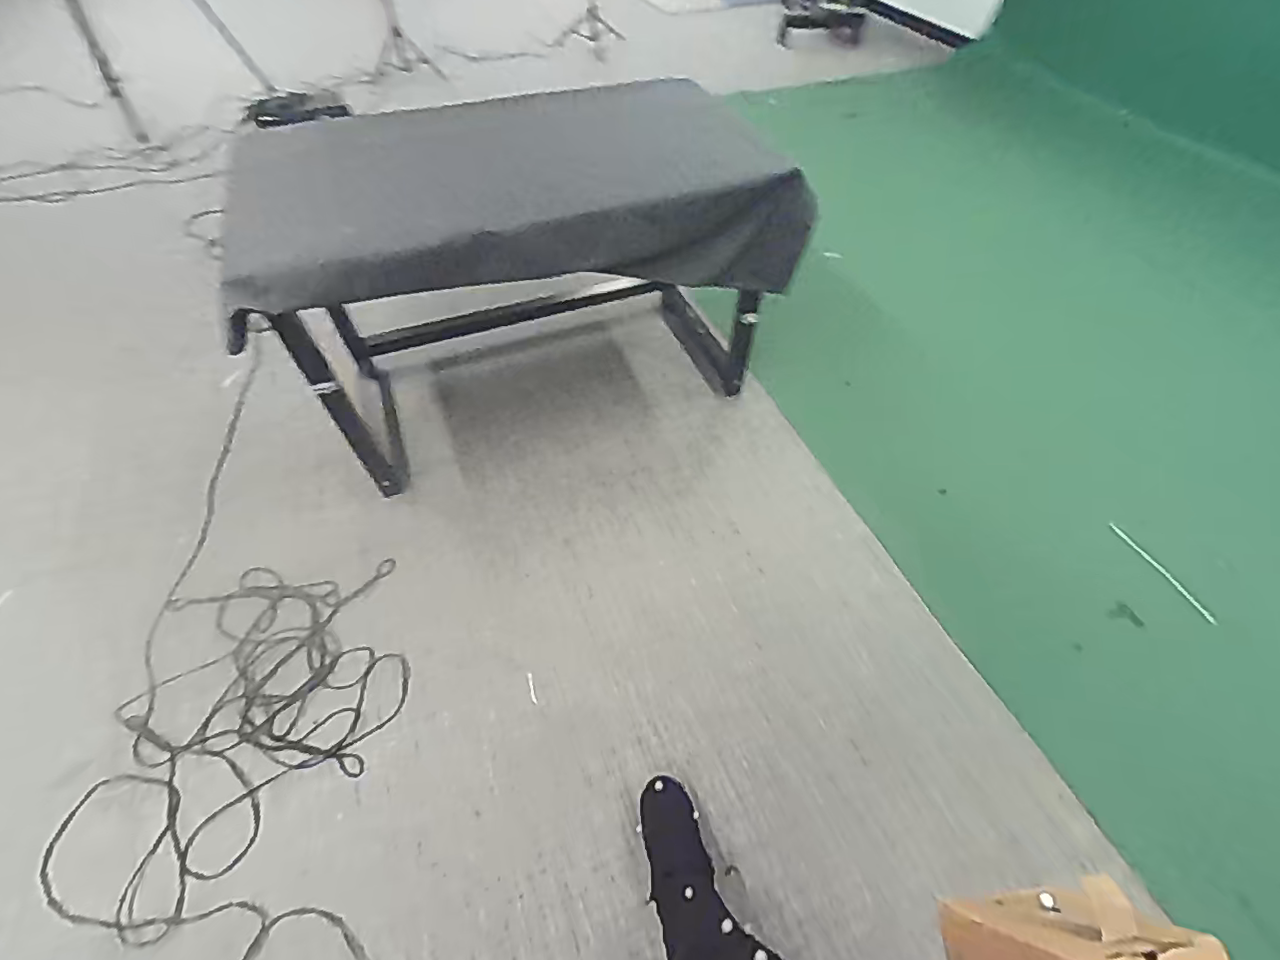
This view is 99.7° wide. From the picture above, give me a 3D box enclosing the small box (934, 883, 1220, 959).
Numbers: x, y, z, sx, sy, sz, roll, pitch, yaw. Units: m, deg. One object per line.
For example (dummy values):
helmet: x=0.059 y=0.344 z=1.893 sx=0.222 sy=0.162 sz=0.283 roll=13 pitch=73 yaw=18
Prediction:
small box: x=0.419 y=0.512 z=0.510 sx=0.168 sy=0.176 sz=0.179 roll=5 pitch=64 yaw=-13
